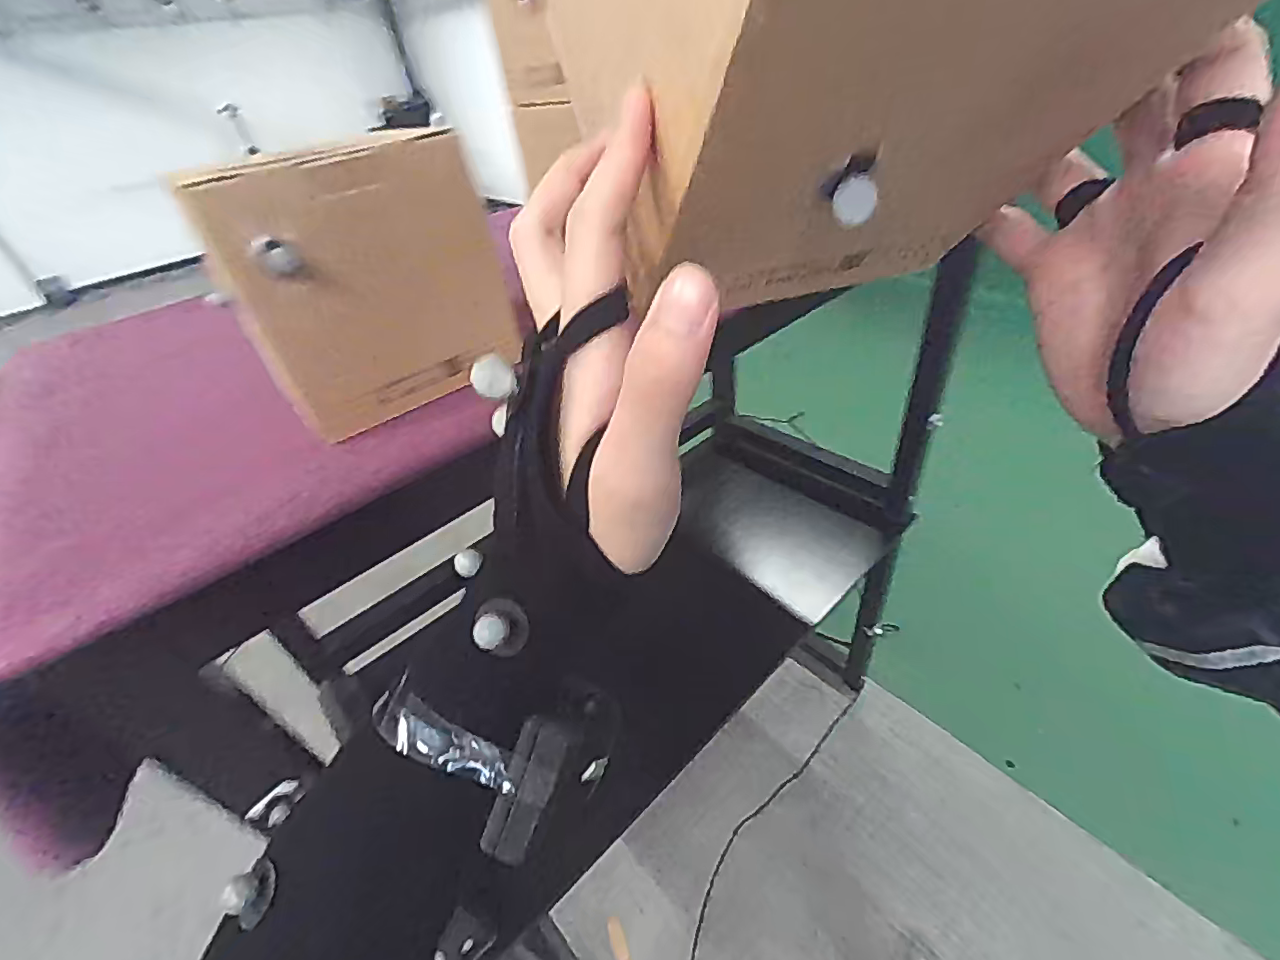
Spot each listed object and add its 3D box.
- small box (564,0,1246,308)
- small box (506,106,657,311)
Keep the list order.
[{"bbox_3d":[0.066,-0.186,0.215,0.168,0.176,0.179,-14,83,-9],"label":"small box"},{"bbox_3d":[-0.007,-0.298,0.560,0.179,0.176,0.168,-31,43,-23],"label":"small box"}]
